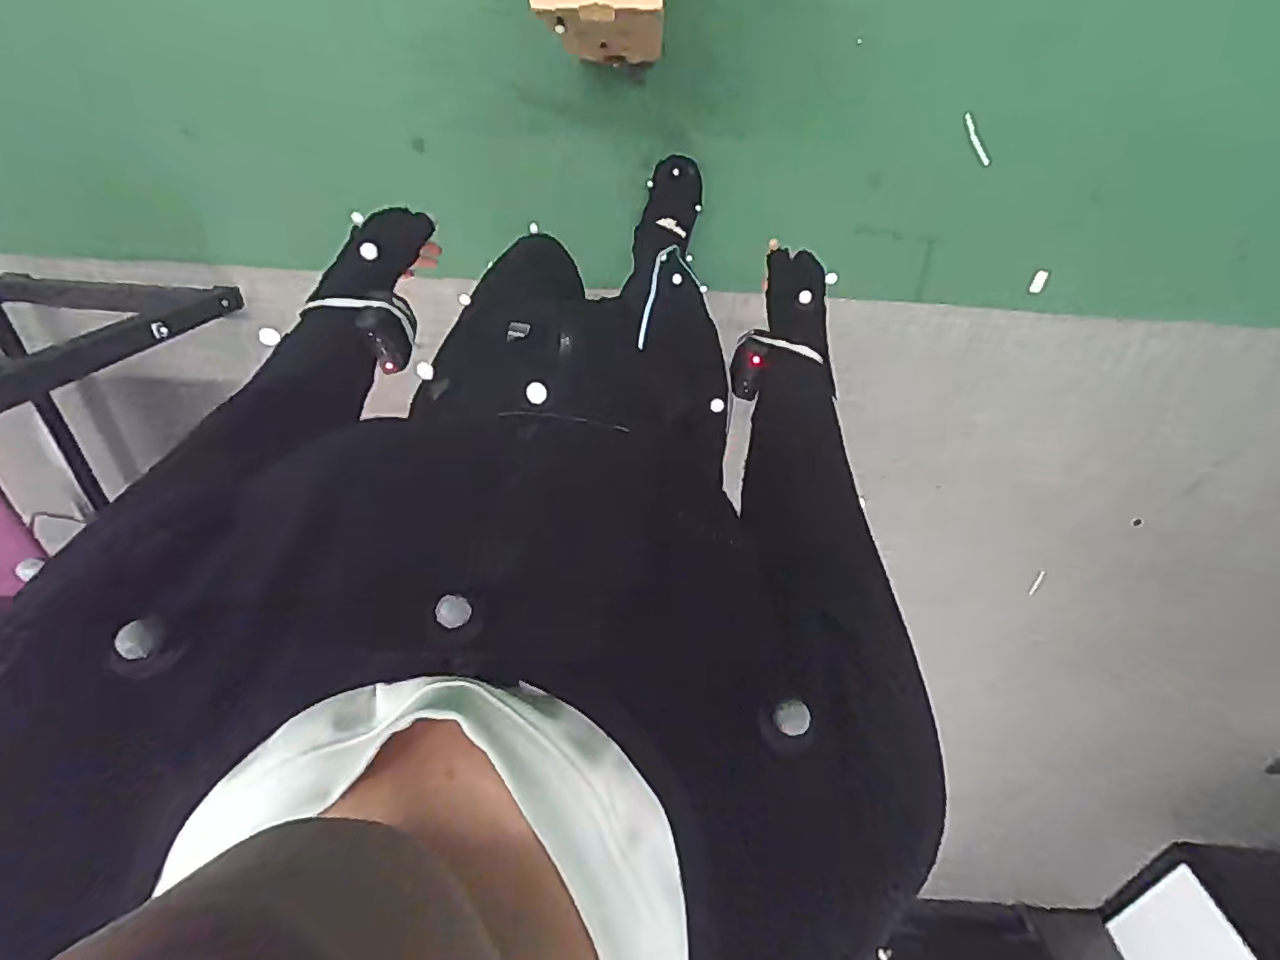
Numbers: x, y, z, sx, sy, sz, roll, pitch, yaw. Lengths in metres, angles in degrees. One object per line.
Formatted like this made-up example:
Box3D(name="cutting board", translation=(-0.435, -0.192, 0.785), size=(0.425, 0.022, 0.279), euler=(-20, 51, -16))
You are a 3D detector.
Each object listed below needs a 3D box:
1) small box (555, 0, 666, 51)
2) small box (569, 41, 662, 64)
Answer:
Box3D(name="small box", translation=(-0.043, -0.785, 0.832), size=(0.168, 0.176, 0.179), euler=(1, 123, 1))
Box3D(name="small box", translation=(-0.038, -0.871, 0.970), size=(0.168, 0.176, 0.179), euler=(3, 122, 0))
